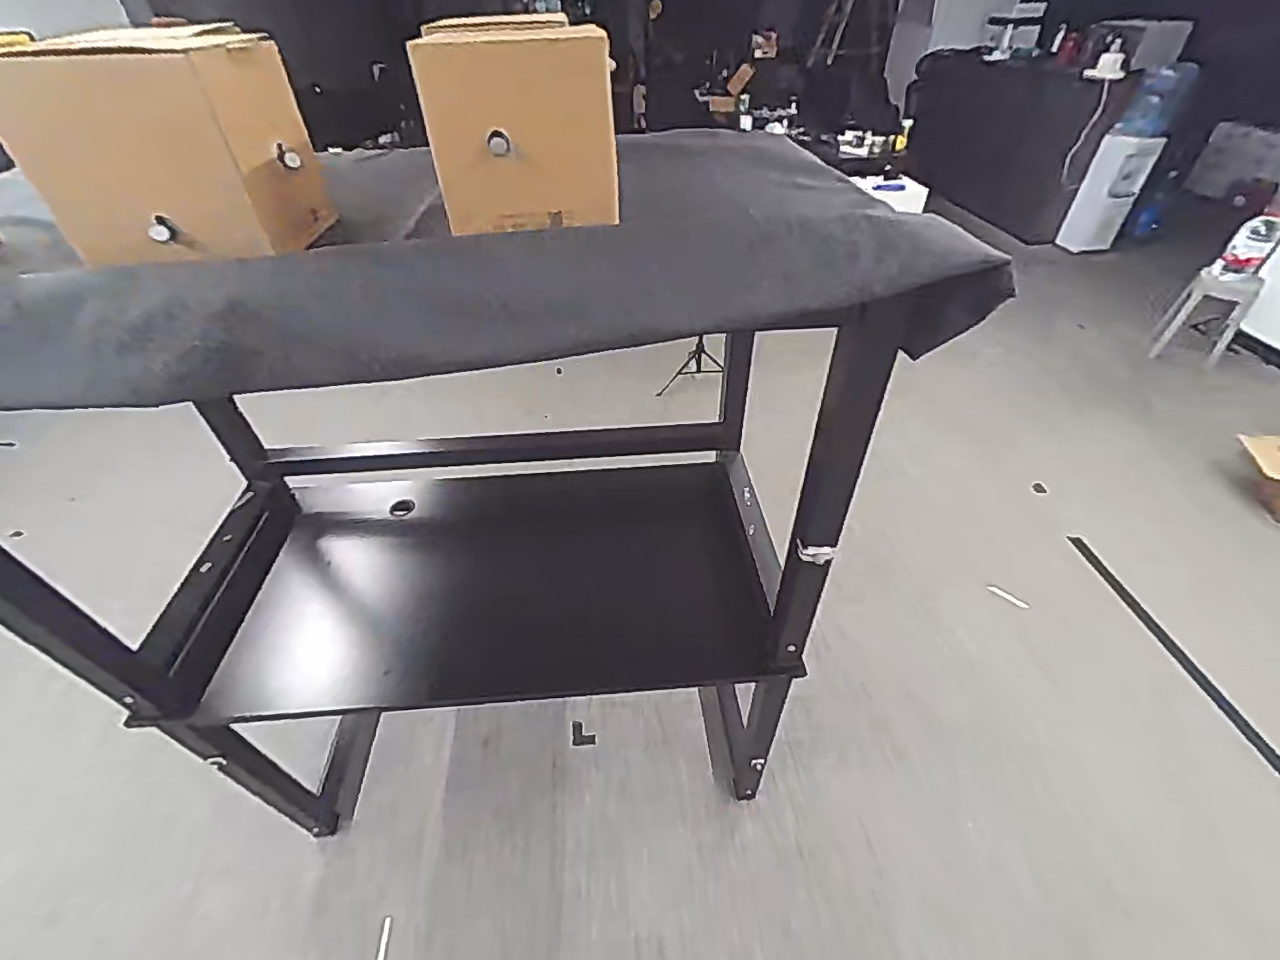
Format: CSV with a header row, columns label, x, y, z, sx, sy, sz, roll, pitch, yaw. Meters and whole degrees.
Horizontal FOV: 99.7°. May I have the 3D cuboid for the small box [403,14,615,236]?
label,x,y,z,sx,sy,sz,roll,pitch,yaw
small box,-0.118,-0.358,0.553,0.168,0.176,0.179,-6,41,-4

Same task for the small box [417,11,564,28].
label,x,y,z,sx,sy,sz,roll,pitch,yaw
small box,-0.185,-0.546,0.762,0.179,0.176,0.168,-4,43,-2

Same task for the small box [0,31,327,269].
label,x,y,z,sx,sy,sz,roll,pitch,yaw
small box,-0.437,-0.314,0.515,0.179,0.176,0.168,-4,41,-4
